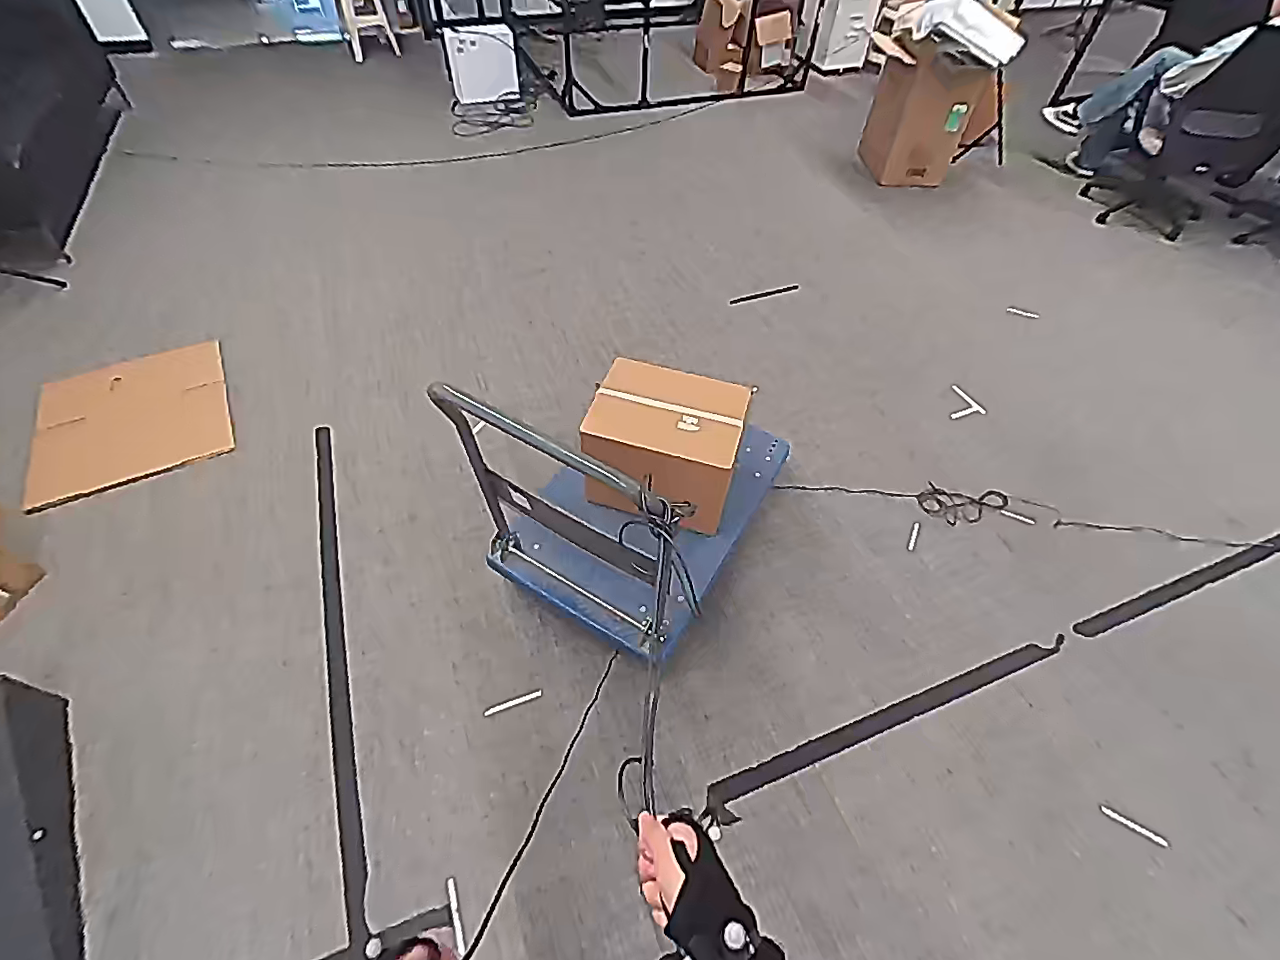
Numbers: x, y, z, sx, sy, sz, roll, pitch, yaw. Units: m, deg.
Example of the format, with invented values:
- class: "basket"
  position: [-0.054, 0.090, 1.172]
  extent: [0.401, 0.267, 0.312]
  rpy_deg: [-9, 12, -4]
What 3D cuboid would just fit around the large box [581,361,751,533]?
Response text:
- class: "large box"
  position: [0.071, -0.094, 1.562]
  extent: [0.408, 0.320, 0.320]
  rpy_deg: [15, 54, 9]
